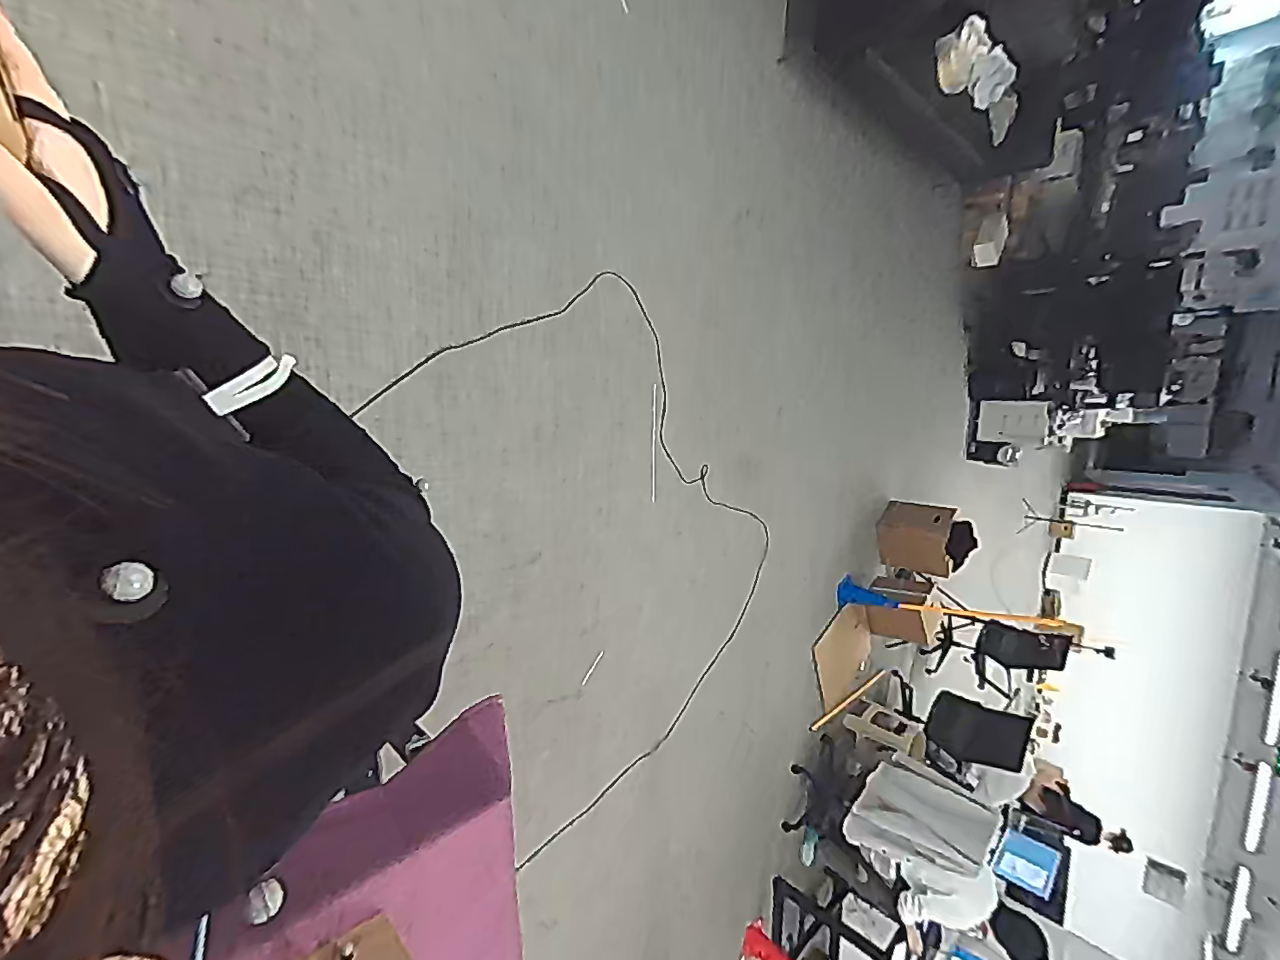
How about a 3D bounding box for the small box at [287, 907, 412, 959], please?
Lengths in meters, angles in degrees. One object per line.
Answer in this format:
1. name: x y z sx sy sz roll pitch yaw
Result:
1. small box: -0.406 0.768 0.756 0.168 0.176 0.179 -9 102 -45
